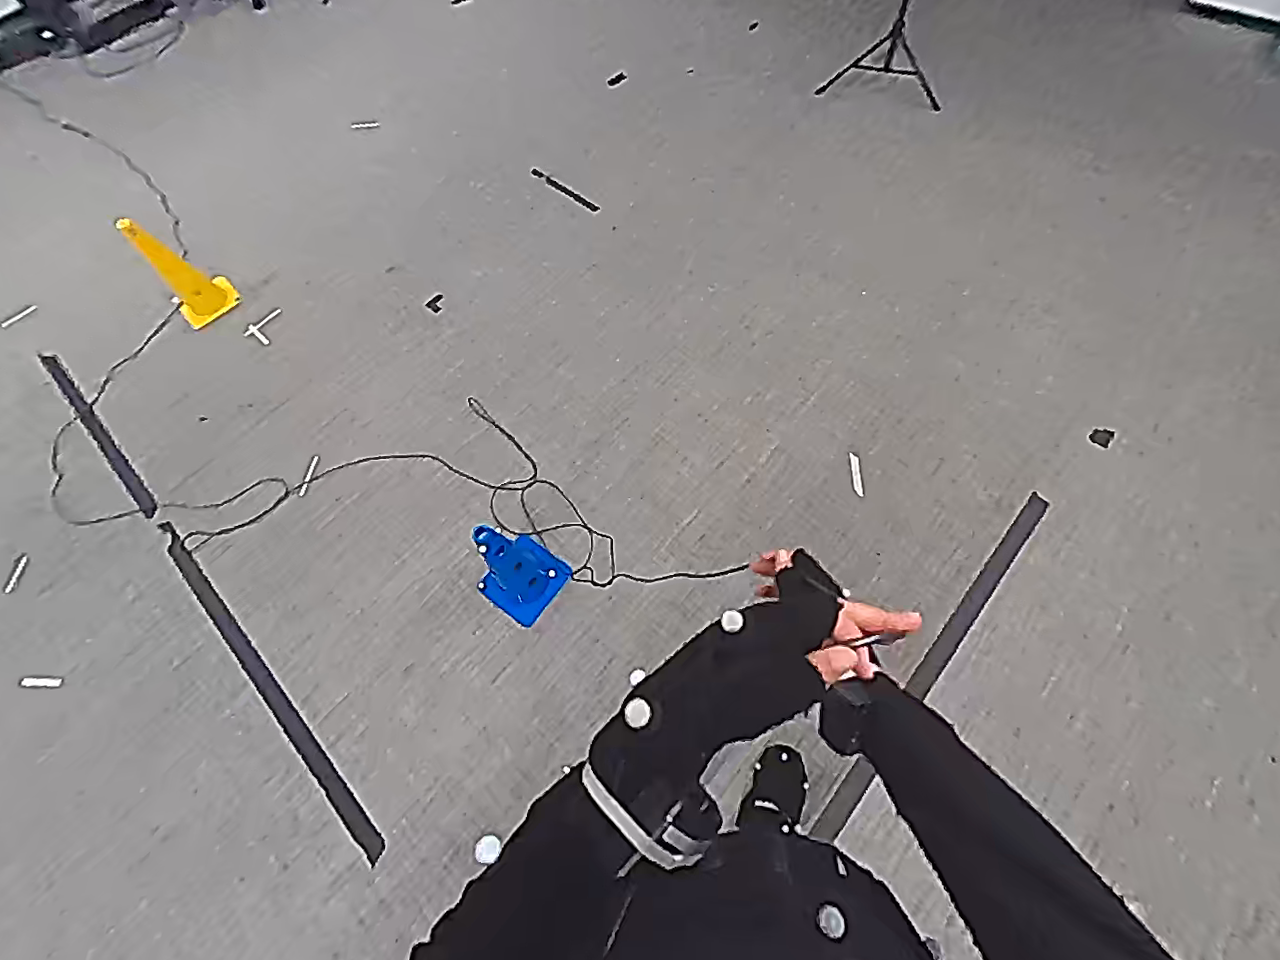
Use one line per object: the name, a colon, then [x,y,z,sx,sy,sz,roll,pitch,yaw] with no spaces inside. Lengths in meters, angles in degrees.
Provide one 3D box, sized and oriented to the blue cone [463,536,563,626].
blue cone: [-0.340,0.208,1.329,0.193,0.380,0.192,33,72,19]
